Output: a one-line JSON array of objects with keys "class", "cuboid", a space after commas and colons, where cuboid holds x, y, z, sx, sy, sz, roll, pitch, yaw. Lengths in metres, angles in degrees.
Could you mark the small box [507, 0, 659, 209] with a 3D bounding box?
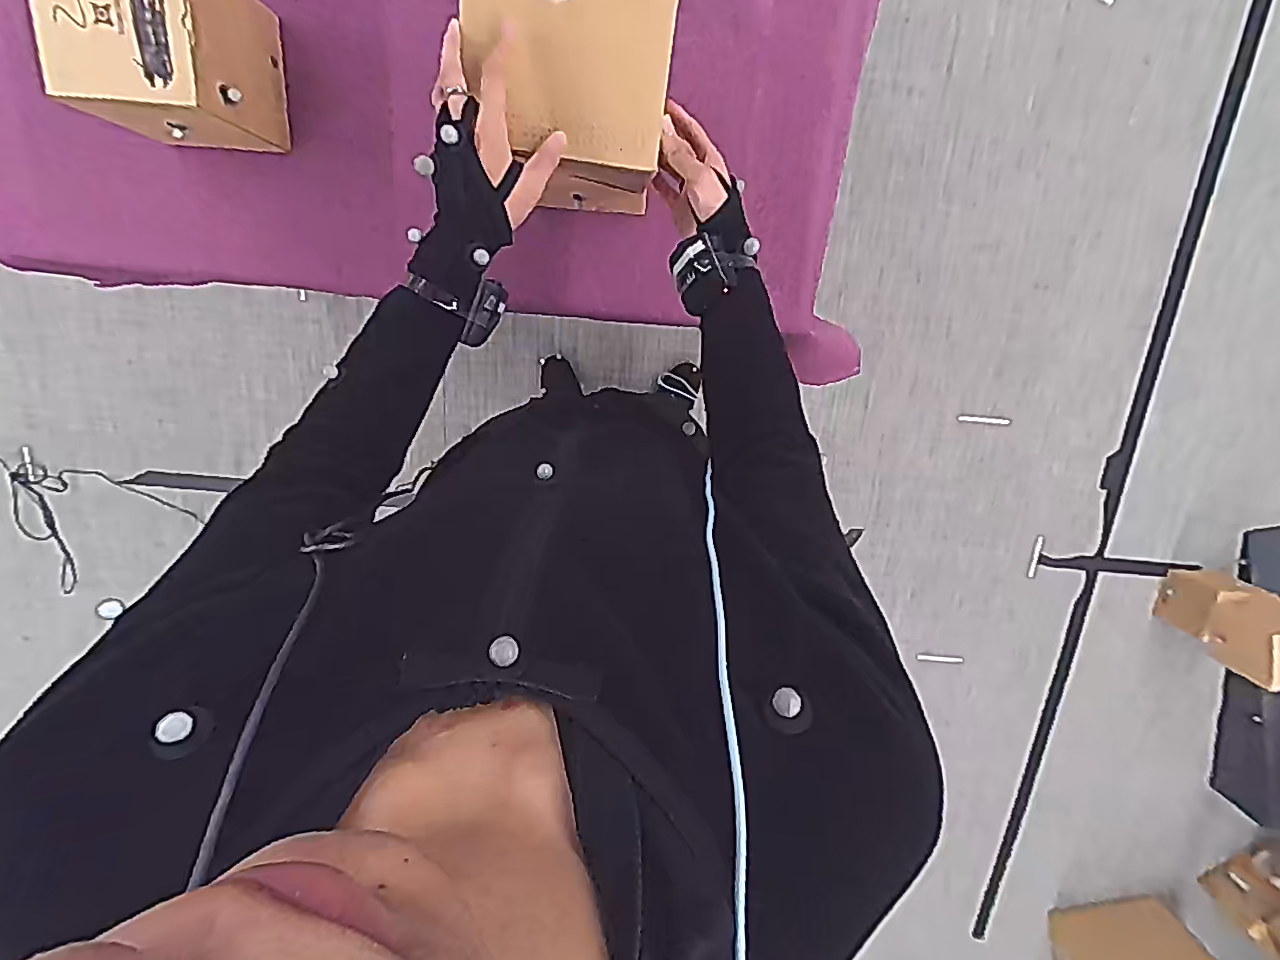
[{"class": "small box", "cuboid": [-0.066, -0.460, 0.689, 0.168, 0.176, 0.179, 5, 105, -2]}]
